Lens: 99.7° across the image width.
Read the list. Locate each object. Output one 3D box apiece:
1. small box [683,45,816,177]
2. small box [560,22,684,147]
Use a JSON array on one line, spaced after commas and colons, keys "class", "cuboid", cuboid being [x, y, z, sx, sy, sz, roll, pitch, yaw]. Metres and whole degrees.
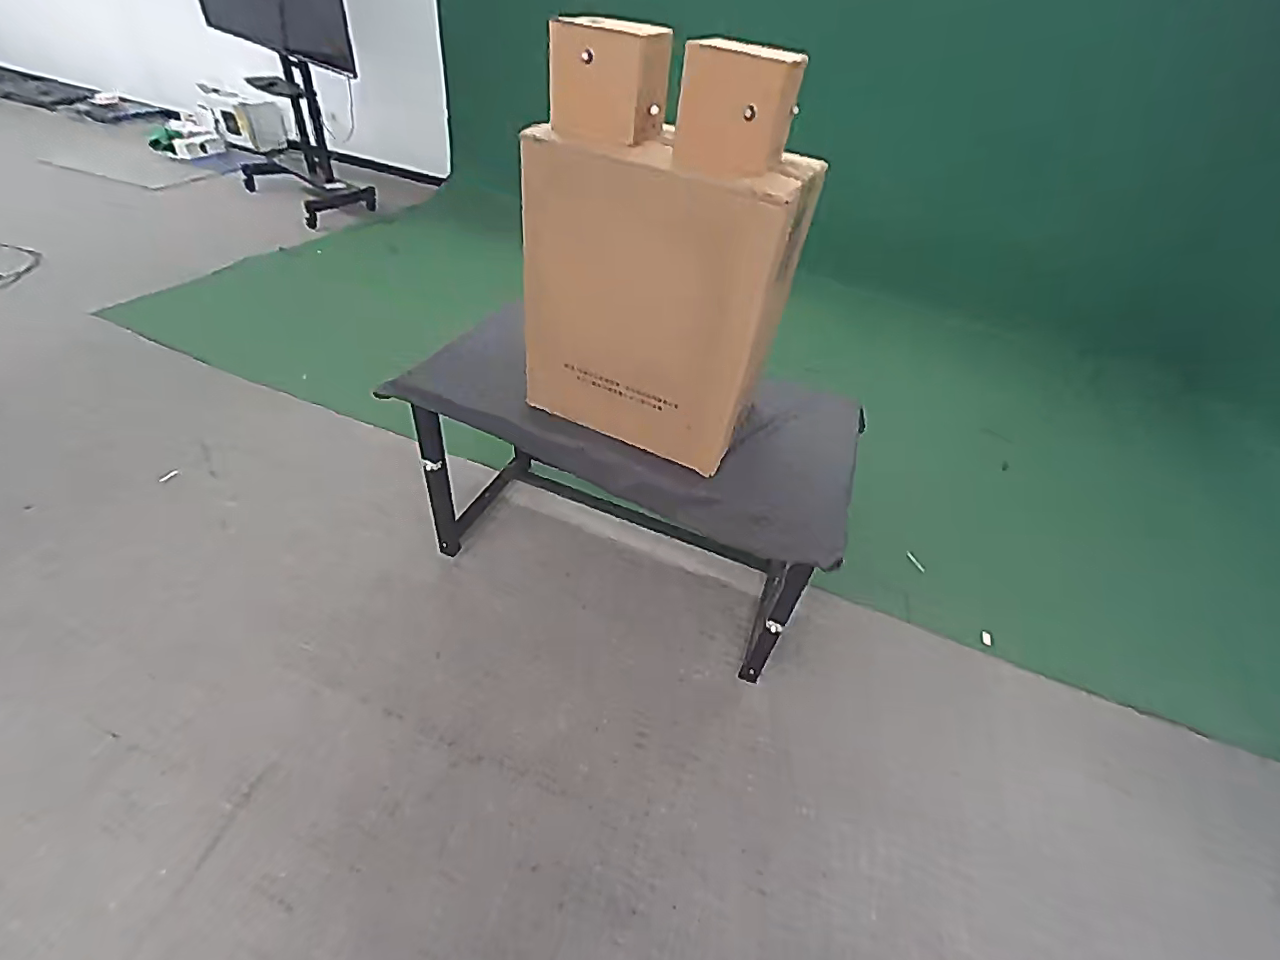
[{"class": "small box", "cuboid": [0.196, -0.672, 0.988, 0.179, 0.176, 0.168, 22, 44, 15]}, {"class": "small box", "cuboid": [-0.036, -0.759, 1.040, 0.179, 0.176, 0.168, 22, 48, 16]}]
